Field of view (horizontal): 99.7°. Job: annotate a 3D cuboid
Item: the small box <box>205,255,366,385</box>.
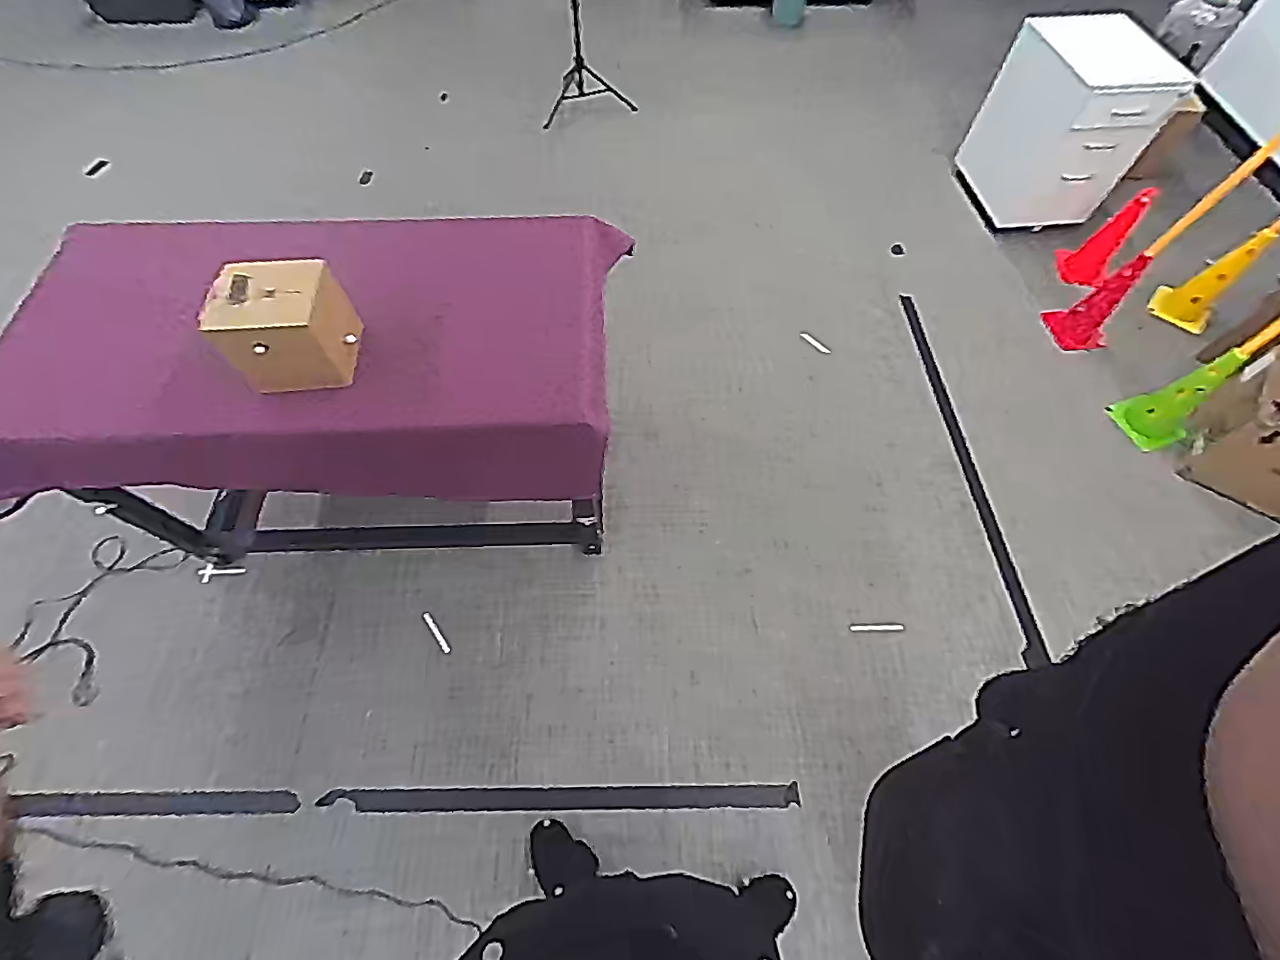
[{"bbox_3d":[-0.647,-0.293,1.011,0.179,0.176,0.168,-4,62,-4],"label":"small box"}]
